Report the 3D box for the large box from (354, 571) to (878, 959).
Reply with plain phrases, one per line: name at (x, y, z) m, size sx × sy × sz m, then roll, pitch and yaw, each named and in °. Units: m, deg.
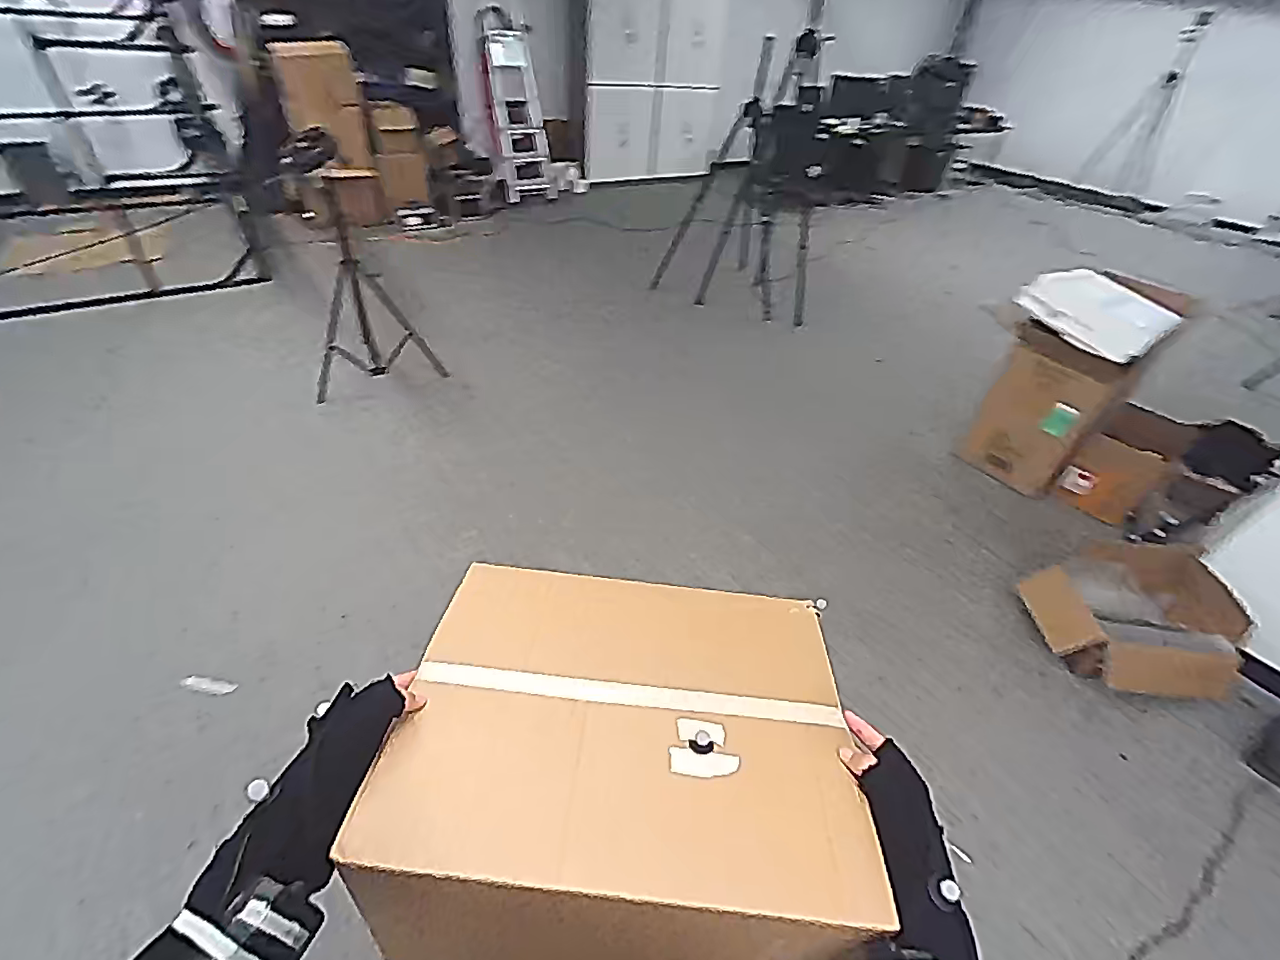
large box at (-0.024, 0.334, 0.604) m, size 0.408 × 0.320 × 0.320 m, roll 6°, pitch 33°, yaw 0°
